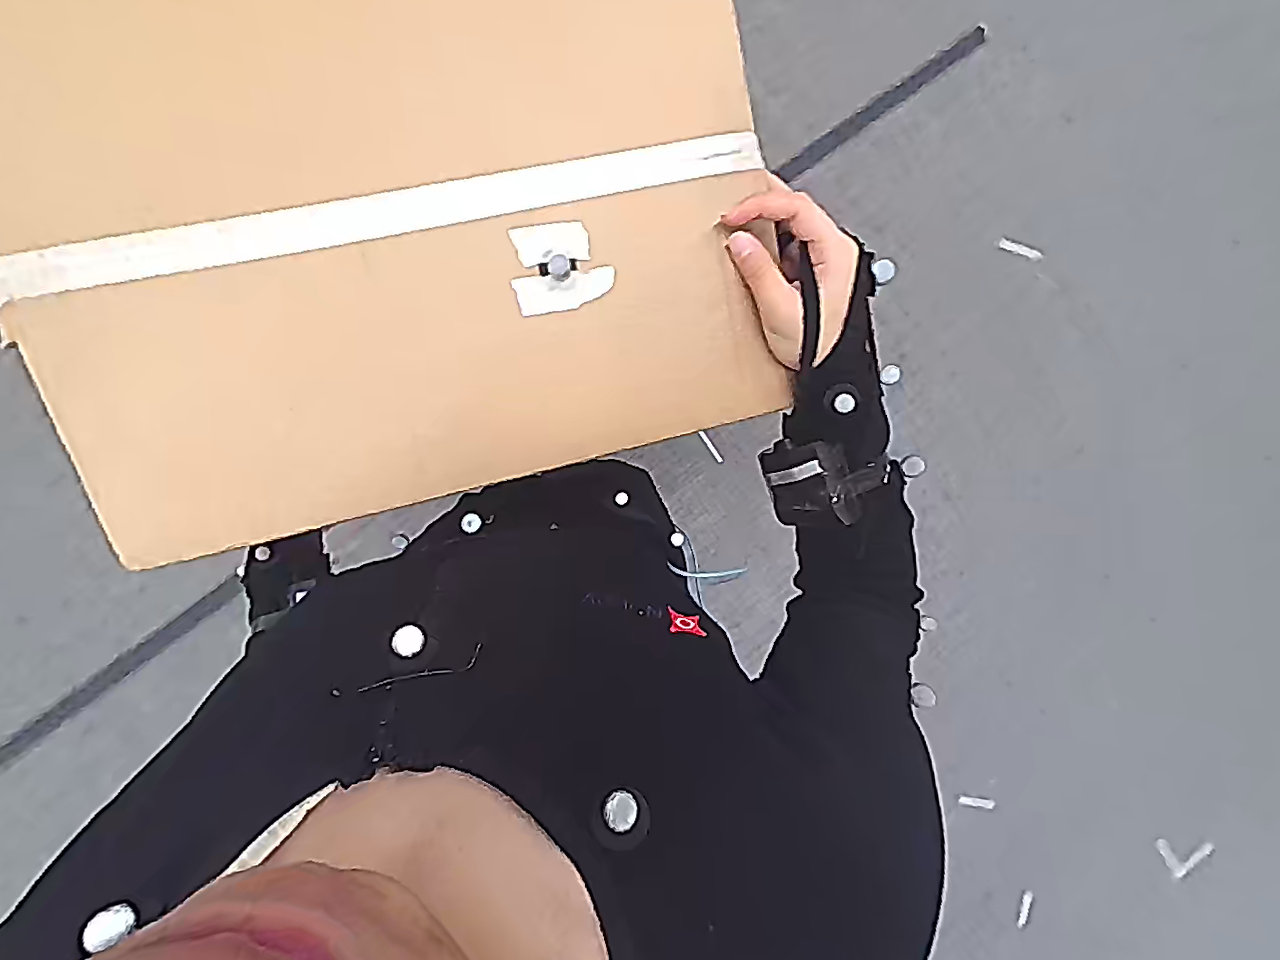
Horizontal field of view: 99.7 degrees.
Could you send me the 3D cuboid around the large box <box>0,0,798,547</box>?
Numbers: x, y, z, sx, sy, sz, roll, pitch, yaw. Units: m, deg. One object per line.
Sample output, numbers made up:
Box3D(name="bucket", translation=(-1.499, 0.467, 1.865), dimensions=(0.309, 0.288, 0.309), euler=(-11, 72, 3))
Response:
Box3D(name="large box", translation=(-0.144, -0.176, 0.450), dimensions=(0.408, 0.320, 0.320), euler=(-14, 102, -11))
